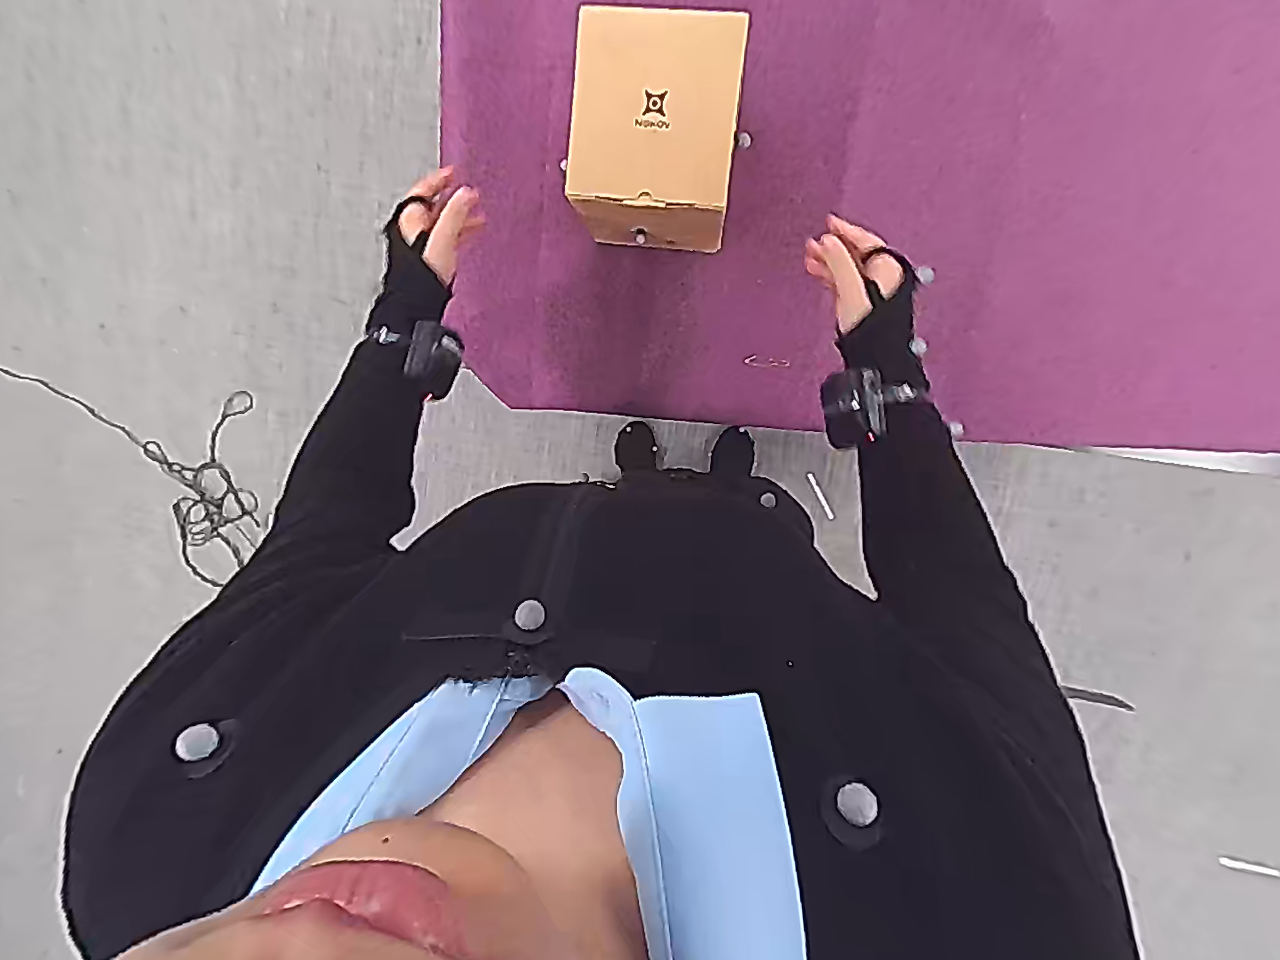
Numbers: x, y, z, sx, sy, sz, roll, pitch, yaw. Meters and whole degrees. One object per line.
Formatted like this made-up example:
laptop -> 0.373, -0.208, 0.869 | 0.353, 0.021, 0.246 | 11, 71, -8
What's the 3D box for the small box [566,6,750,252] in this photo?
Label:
small box -> 0.021, -0.376, 0.610 | 0.168, 0.176, 0.179 | 7, 100, 4
